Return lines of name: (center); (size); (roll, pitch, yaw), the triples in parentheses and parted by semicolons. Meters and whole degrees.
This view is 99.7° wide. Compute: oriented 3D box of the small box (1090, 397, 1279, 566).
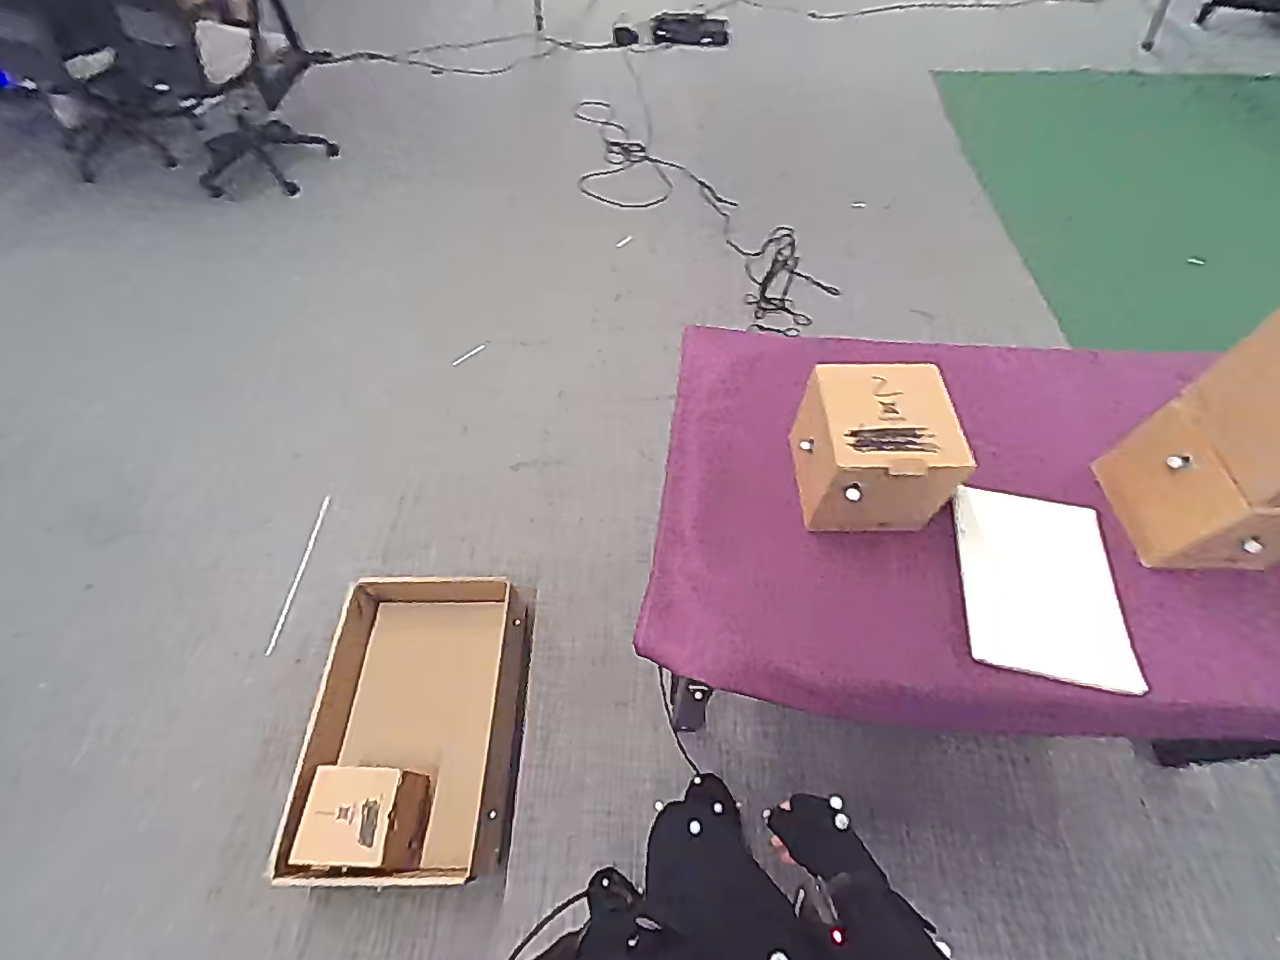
small box: (0.776, 0.007, 0.731); (0.168, 0.176, 0.179); (0, 57, 1)

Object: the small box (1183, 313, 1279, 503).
small box: (0.776, -0.086, 0.595); (0.168, 0.176, 0.179); (3, 58, 3)
